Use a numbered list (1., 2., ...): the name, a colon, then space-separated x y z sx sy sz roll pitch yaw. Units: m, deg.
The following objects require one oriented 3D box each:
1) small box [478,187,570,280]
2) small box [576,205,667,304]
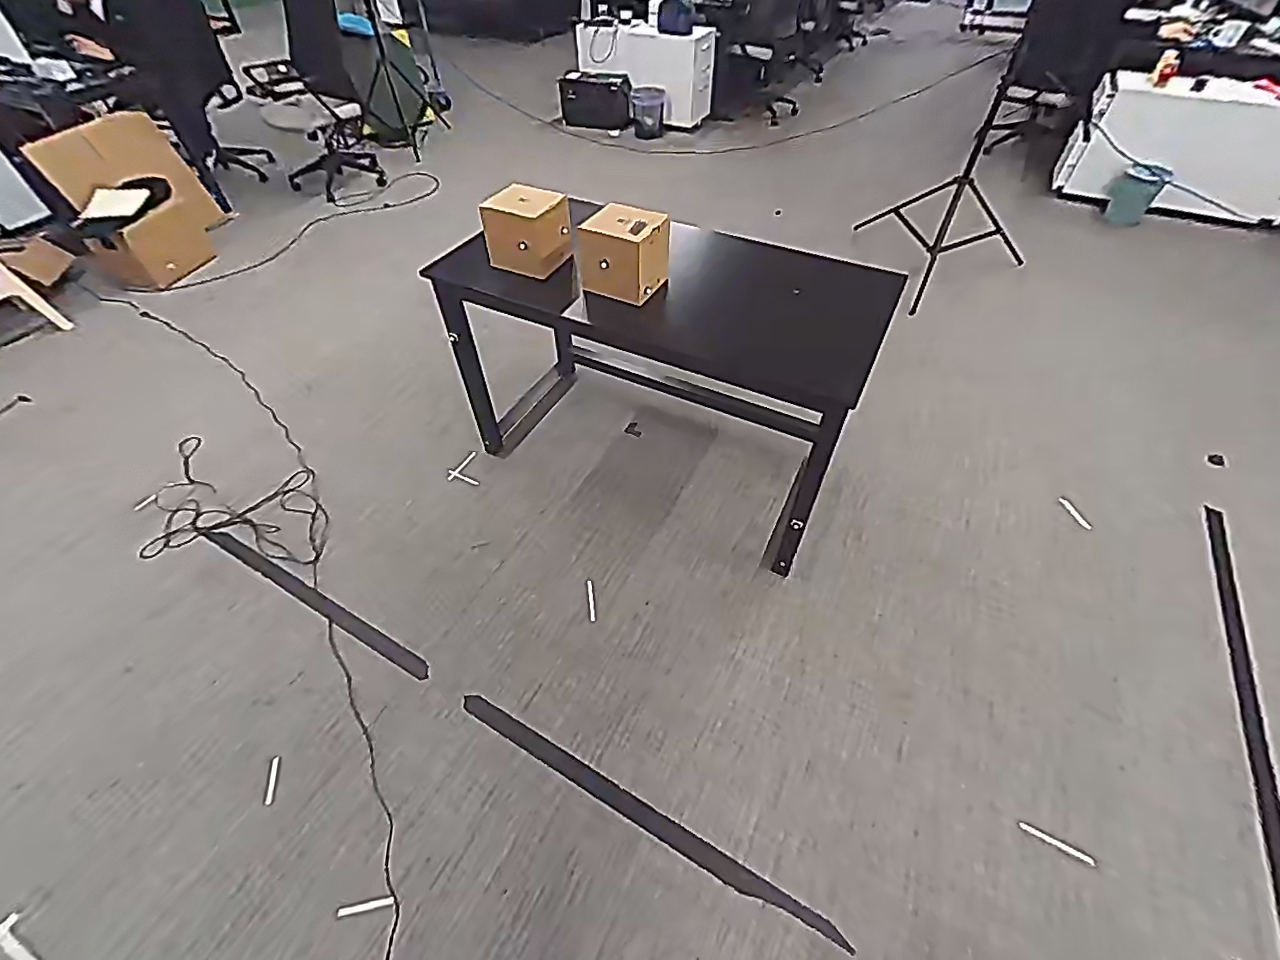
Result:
1. small box: -0.308 -0.672 1.479 0.179 0.176 0.168 19 51 17
2. small box: -0.042 -0.576 1.392 0.179 0.176 0.168 22 53 19
